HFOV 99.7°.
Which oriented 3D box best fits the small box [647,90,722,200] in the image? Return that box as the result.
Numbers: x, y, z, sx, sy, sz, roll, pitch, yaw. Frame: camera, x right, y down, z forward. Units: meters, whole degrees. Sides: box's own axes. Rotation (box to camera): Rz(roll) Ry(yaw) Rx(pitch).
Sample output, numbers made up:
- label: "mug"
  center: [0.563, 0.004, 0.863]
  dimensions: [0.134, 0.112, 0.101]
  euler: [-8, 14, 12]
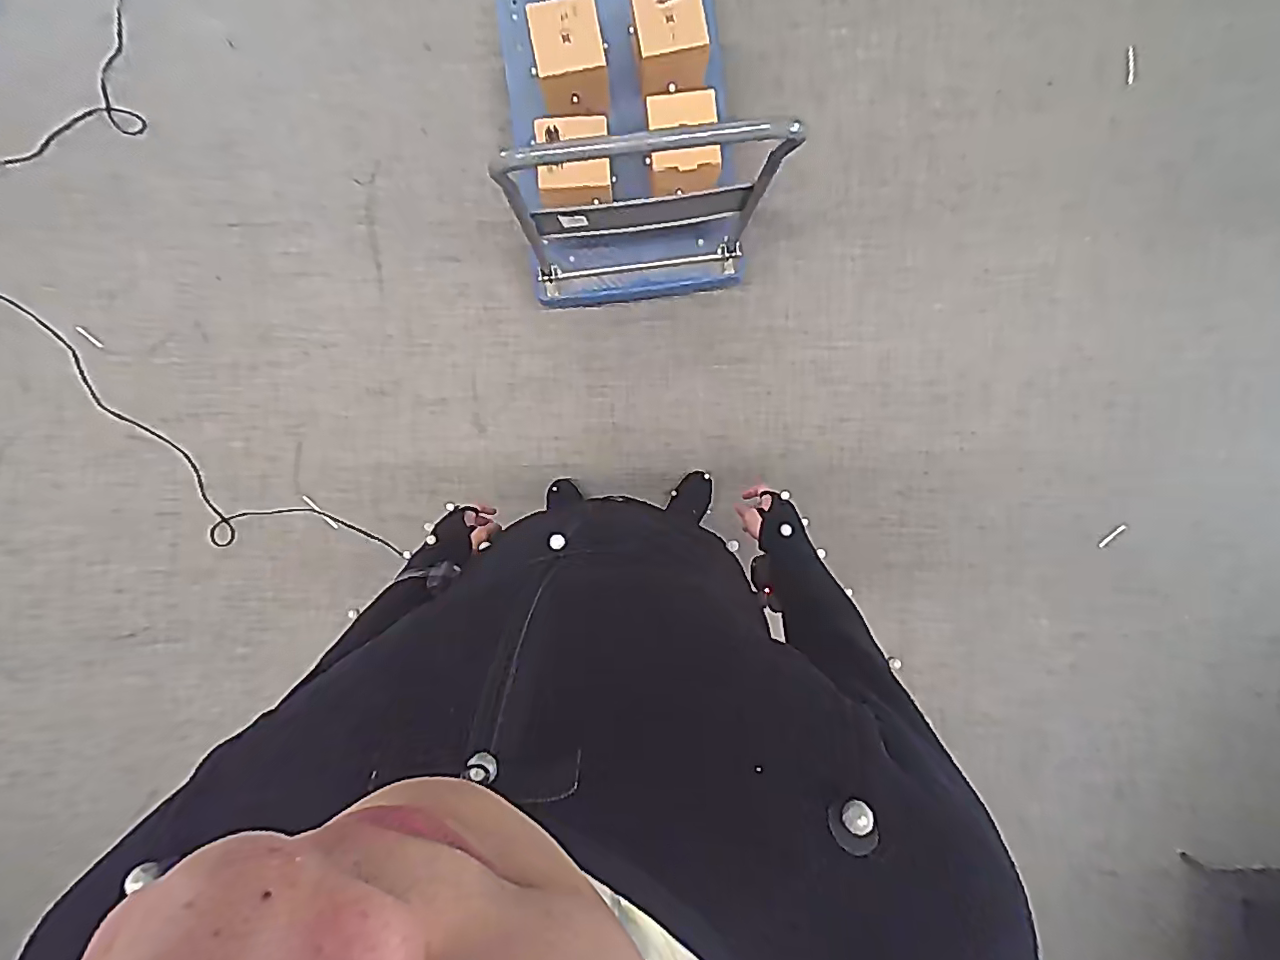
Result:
- label: "small box"
  center: [0.108, -0.847, 1.380]
  dimensions: [0.168, 0.176, 0.179]
  euler: [-6, 92, 0]

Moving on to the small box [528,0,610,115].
- label: "small box"
  center: [-0.174, -1.066, 1.374]
  dimensions: [0.168, 0.176, 0.179]
  euler: [-11, 91, 0]

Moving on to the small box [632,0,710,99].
- label: "small box"
  center: [0.073, -1.115, 1.371]
  dimensions: [0.168, 0.176, 0.179]
  euler: [-11, 92, 1]
